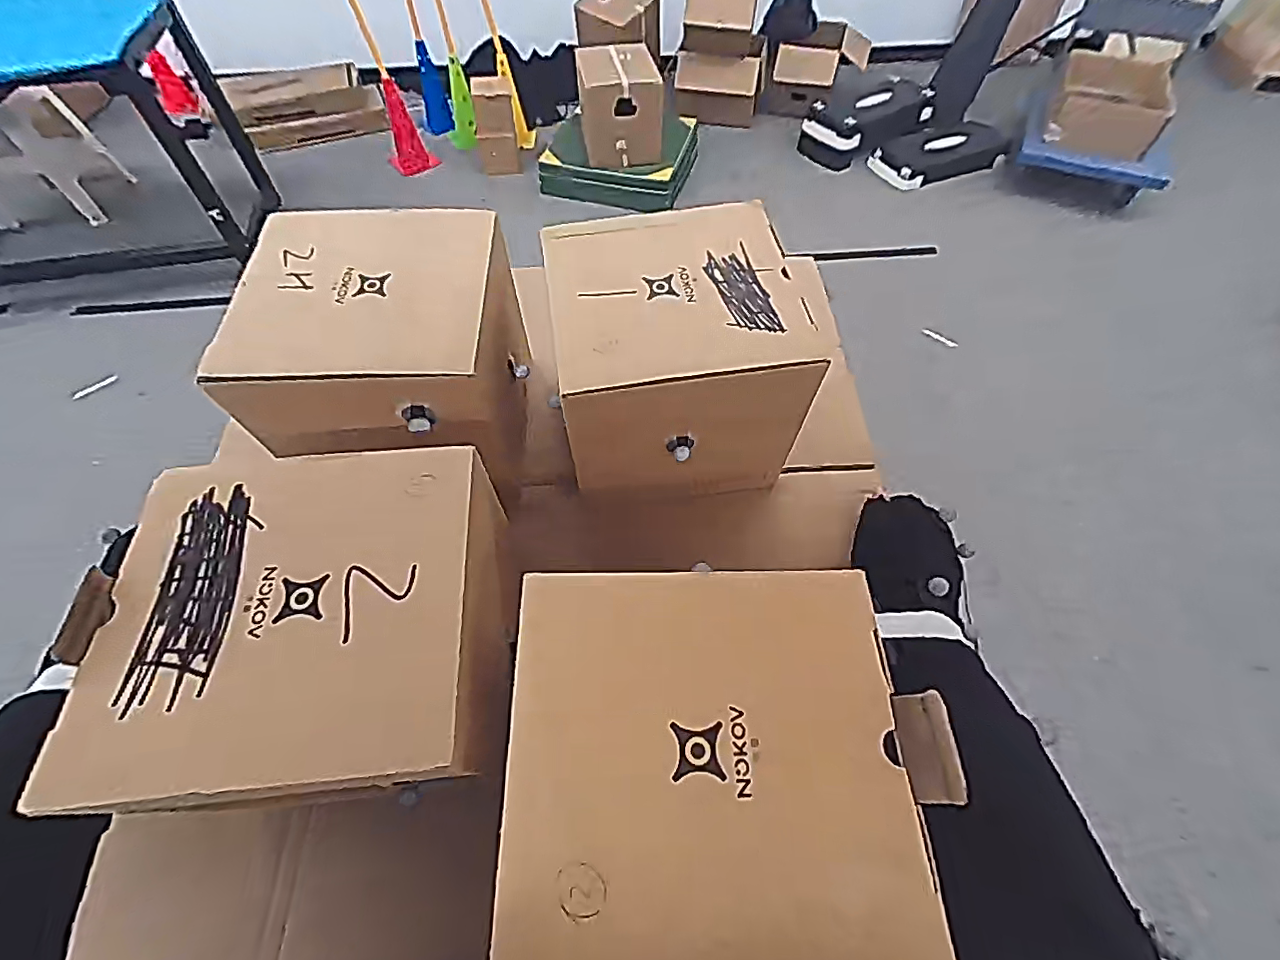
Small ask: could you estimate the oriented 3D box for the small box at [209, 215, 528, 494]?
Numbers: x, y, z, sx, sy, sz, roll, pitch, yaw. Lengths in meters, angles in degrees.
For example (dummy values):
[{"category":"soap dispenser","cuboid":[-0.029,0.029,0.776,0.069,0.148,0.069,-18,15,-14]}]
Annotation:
[{"category":"small box","cuboid":[-0.198,-0.097,0.461,0.179,0.176,0.168,-2,60,-1]}]
